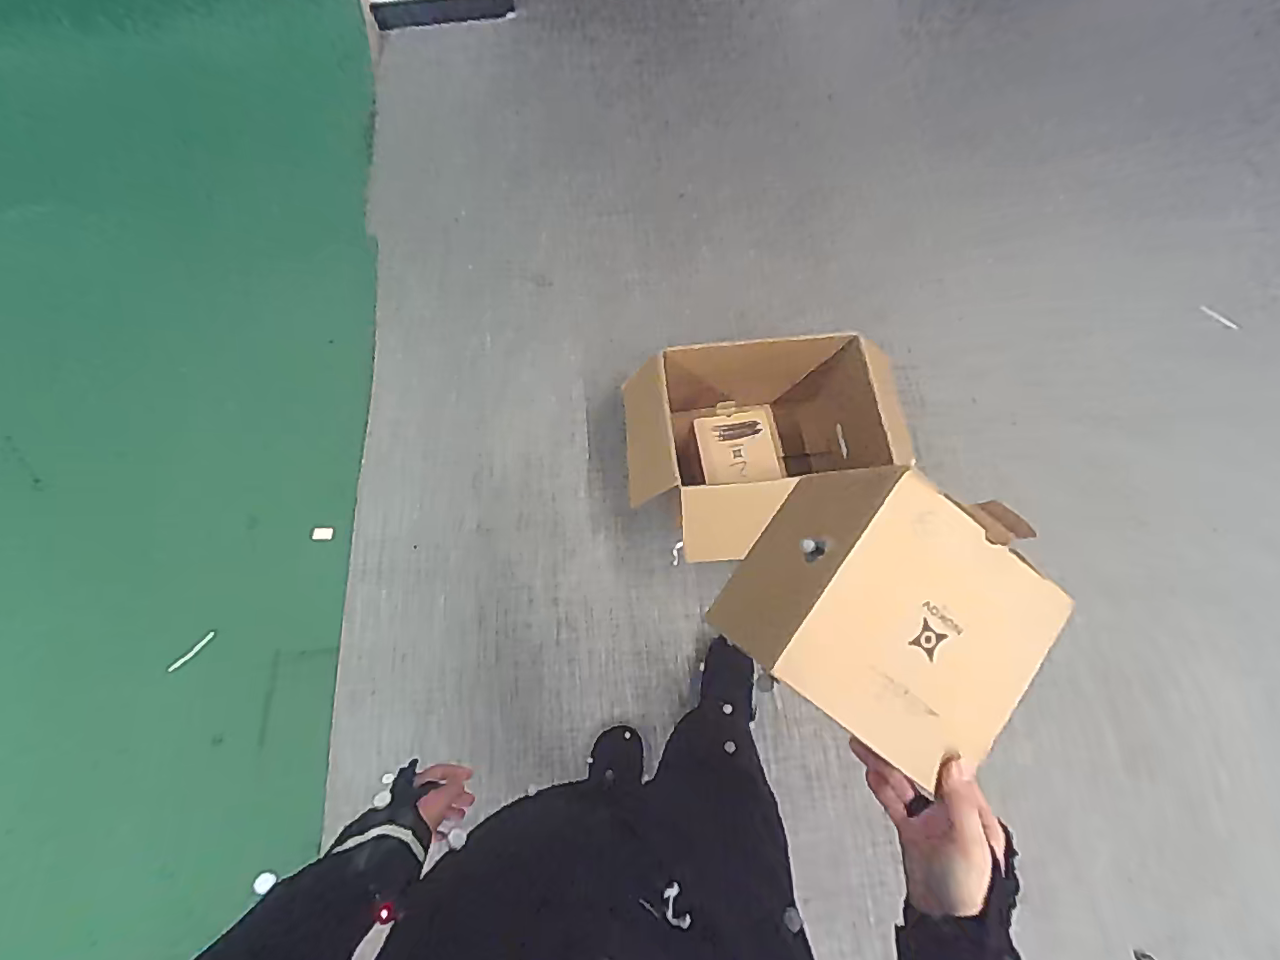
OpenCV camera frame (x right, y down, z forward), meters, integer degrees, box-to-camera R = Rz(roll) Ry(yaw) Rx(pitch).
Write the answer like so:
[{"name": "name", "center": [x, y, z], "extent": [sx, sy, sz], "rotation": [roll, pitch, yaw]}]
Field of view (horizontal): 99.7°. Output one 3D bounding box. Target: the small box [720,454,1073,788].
[{"name": "small box", "center": [0.193, 0.101, 0.456], "extent": [0.168, 0.176, 0.179], "rotation": [39, 82, -5]}]
